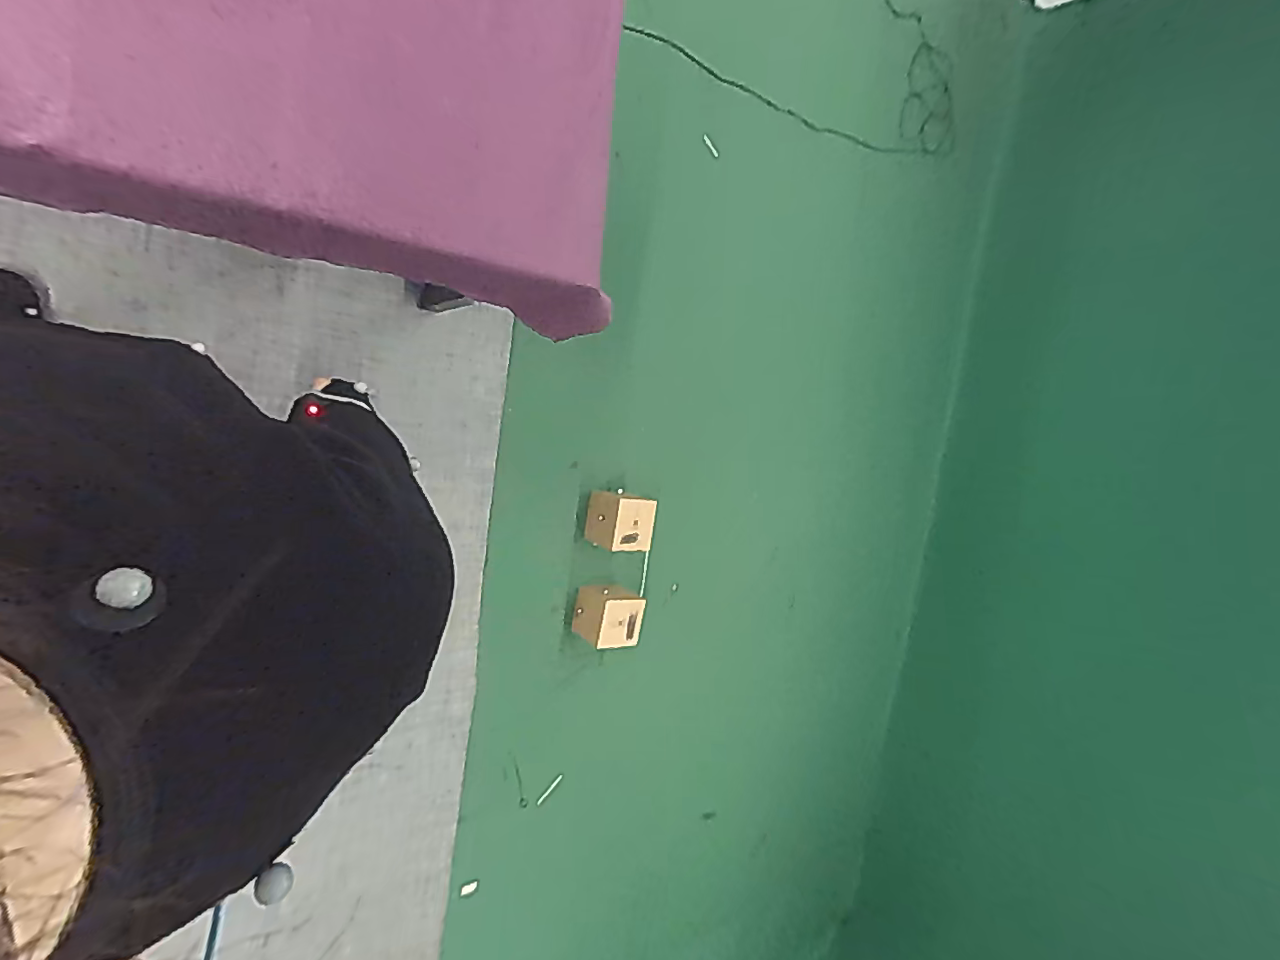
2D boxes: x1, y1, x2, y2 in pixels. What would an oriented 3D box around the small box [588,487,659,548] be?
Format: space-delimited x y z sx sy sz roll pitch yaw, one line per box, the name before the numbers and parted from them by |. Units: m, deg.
small box | -0.062 0.129 1.852 0.168 0.176 0.179 6 94 -40
